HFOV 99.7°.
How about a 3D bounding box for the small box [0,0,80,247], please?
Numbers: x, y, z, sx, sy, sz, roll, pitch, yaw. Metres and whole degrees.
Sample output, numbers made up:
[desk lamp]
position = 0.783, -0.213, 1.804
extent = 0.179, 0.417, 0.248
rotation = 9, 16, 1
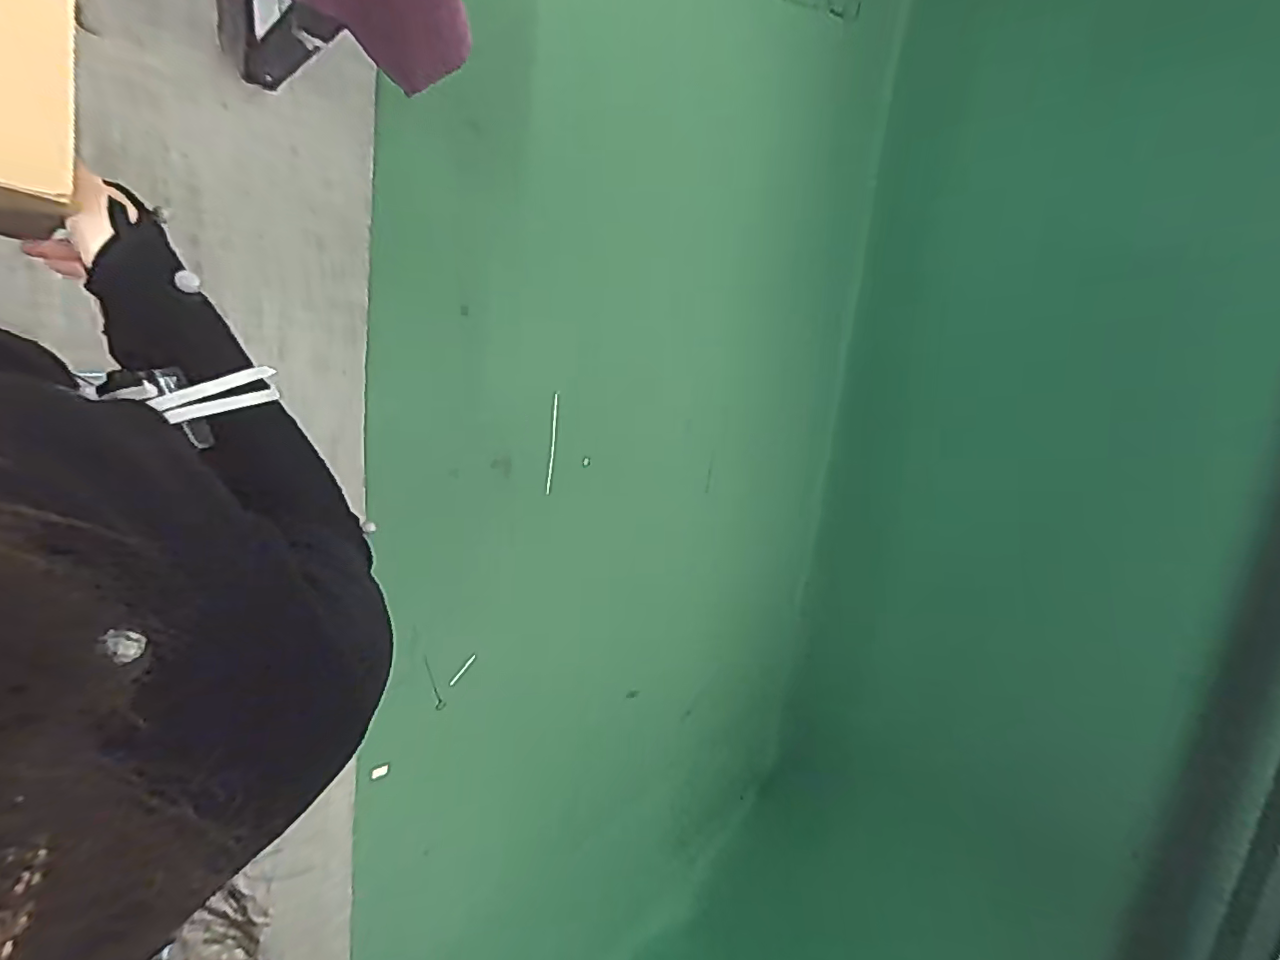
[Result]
[small box]
position = -0.448, -0.256, 0.307
extent = 0.168, 0.176, 0.179
rotation = -1, 97, -51
